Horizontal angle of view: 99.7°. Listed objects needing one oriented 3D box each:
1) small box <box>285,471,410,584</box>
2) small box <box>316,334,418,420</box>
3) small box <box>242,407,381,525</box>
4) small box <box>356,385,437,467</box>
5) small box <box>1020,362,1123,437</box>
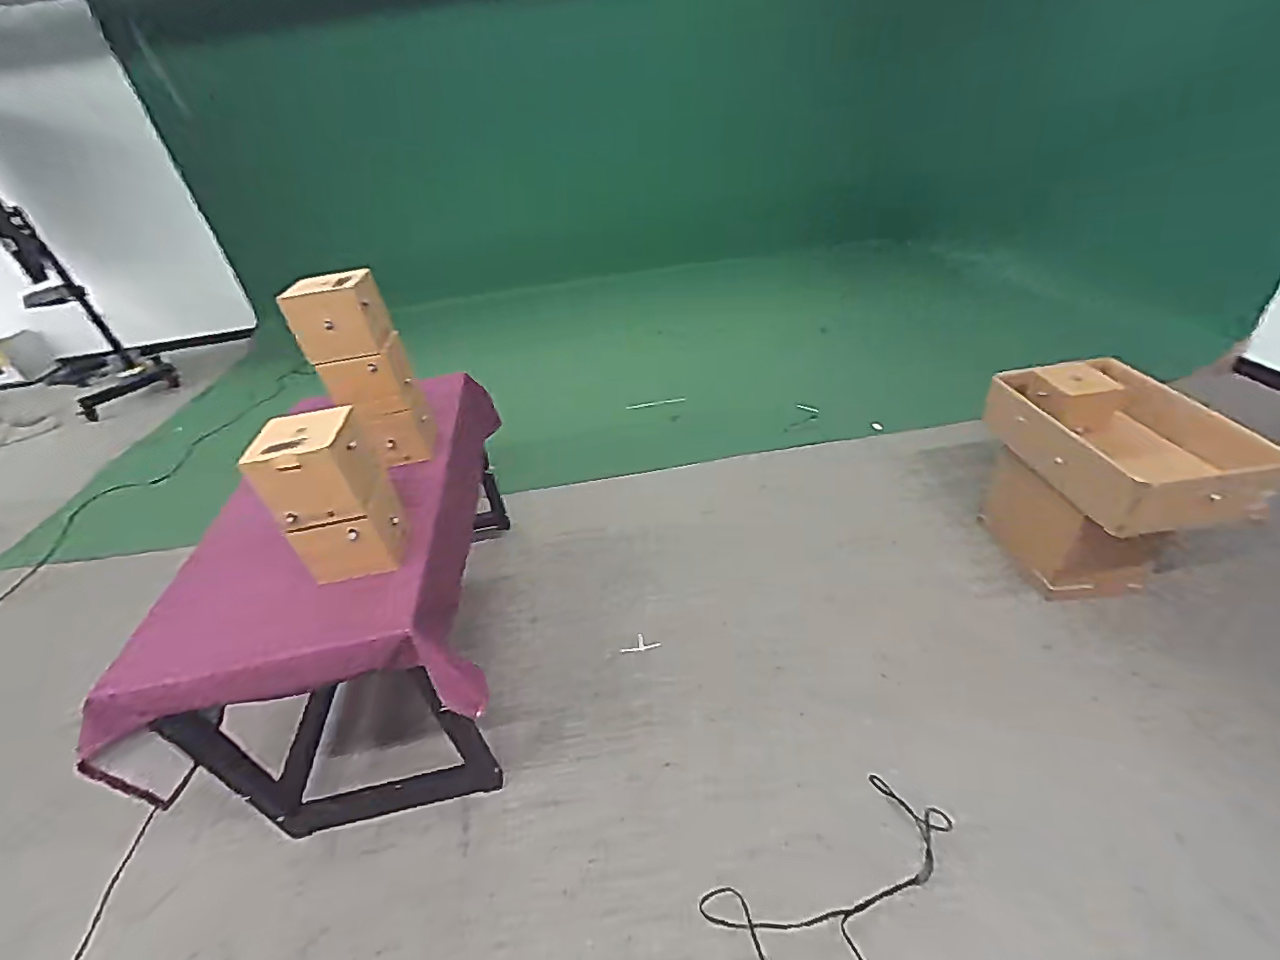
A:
[{"bbox_3d":[-0.637,0.108,1.208,0.179,0.176,0.168,-12,36,-3],"label":"small box"},{"bbox_3d":[-0.730,-0.277,1.468,0.179,0.176,0.168,-11,36,-3],"label":"small box"},{"bbox_3d":[-0.657,-0.023,1.110,0.168,0.176,0.179,-11,36,-4],"label":"small box"},{"bbox_3d":[-0.704,-0.151,1.568,0.168,0.176,0.179,-12,37,-5],"label":"small box"},{"bbox_3d":[1.350,-0.254,1.708,0.168,0.176,0.179,-9,35,2],"label":"small box"}]
